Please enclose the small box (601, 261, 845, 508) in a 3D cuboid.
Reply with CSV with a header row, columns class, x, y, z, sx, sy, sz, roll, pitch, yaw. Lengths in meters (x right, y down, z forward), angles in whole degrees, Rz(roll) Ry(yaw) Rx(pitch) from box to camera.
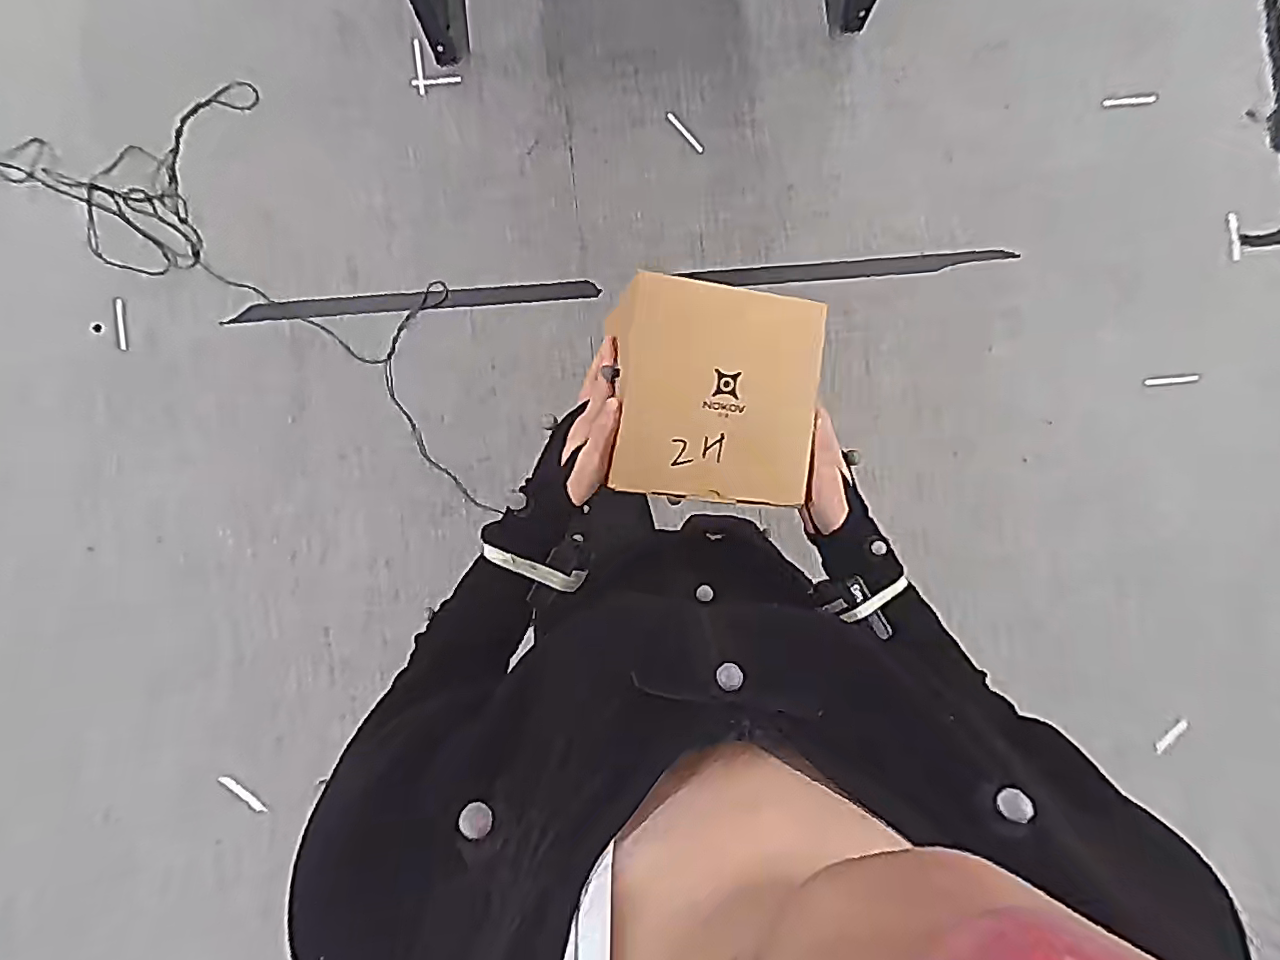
class,x,y,z,sx,sy,sz,roll,pitch,yaw
small box,0.064,-0.078,0.518,0.168,0.176,0.179,9,92,-14
